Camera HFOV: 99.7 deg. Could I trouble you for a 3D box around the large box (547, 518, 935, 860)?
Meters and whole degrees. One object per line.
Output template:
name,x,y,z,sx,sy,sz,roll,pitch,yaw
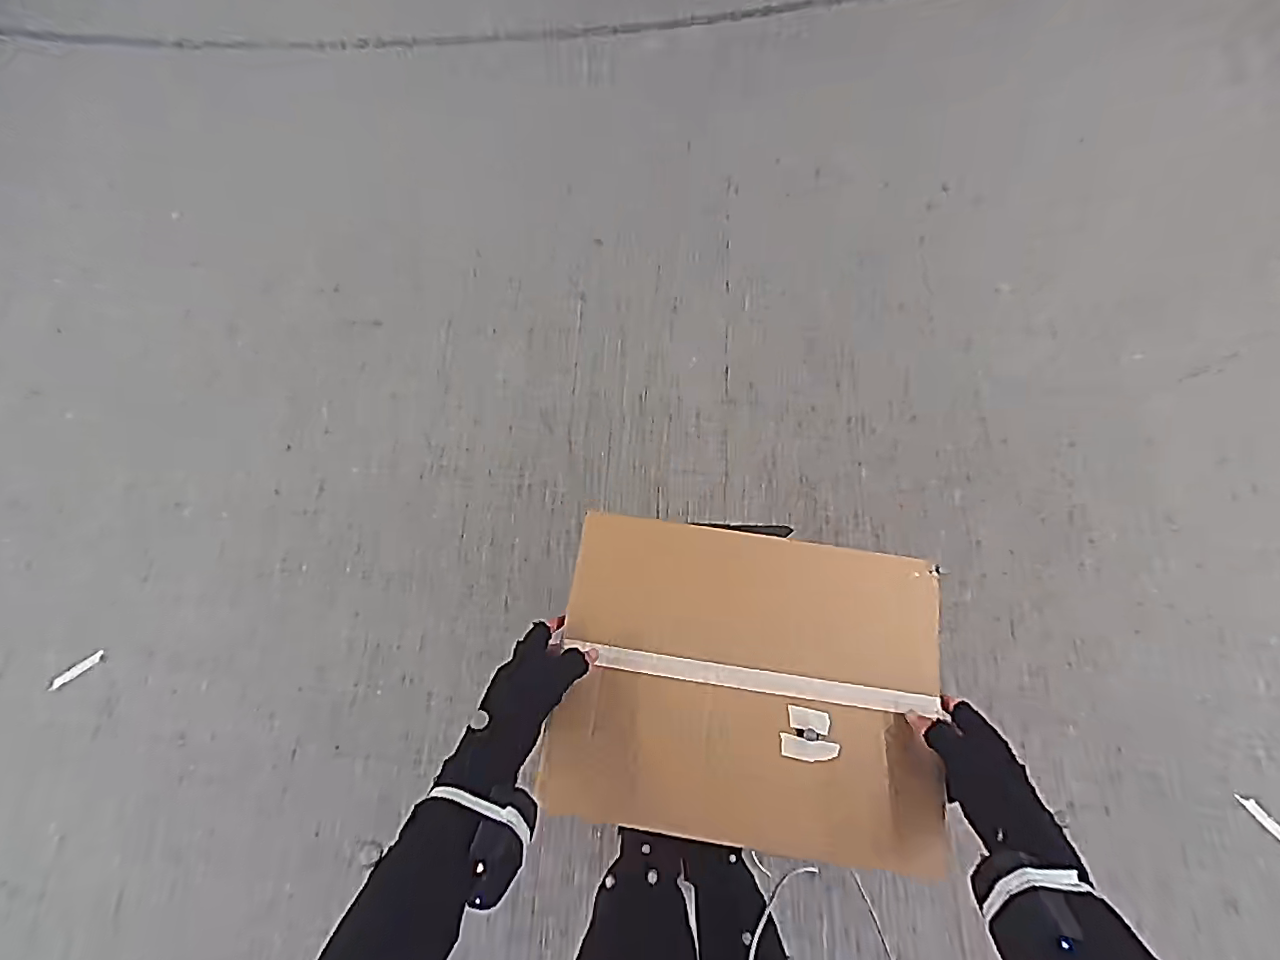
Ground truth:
large box,0.118,0.262,0.736,0.408,0.320,0.320,8,72,3
